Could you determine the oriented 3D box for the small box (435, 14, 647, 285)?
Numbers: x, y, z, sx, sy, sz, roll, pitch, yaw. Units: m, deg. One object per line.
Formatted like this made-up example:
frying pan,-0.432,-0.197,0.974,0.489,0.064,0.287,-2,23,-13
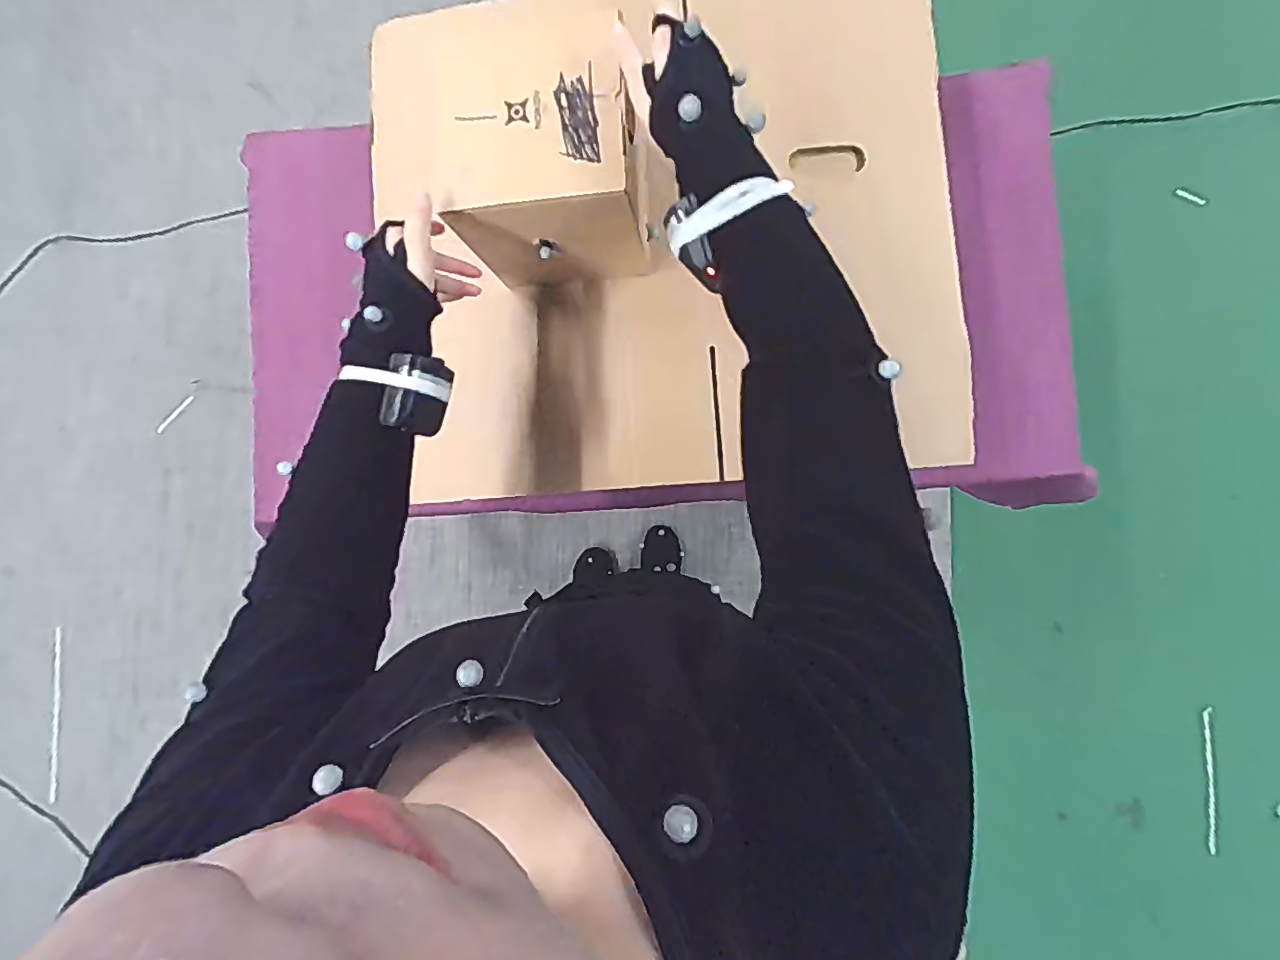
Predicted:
small box,-0.087,-0.318,0.559,0.179,0.176,0.168,-3,87,9
